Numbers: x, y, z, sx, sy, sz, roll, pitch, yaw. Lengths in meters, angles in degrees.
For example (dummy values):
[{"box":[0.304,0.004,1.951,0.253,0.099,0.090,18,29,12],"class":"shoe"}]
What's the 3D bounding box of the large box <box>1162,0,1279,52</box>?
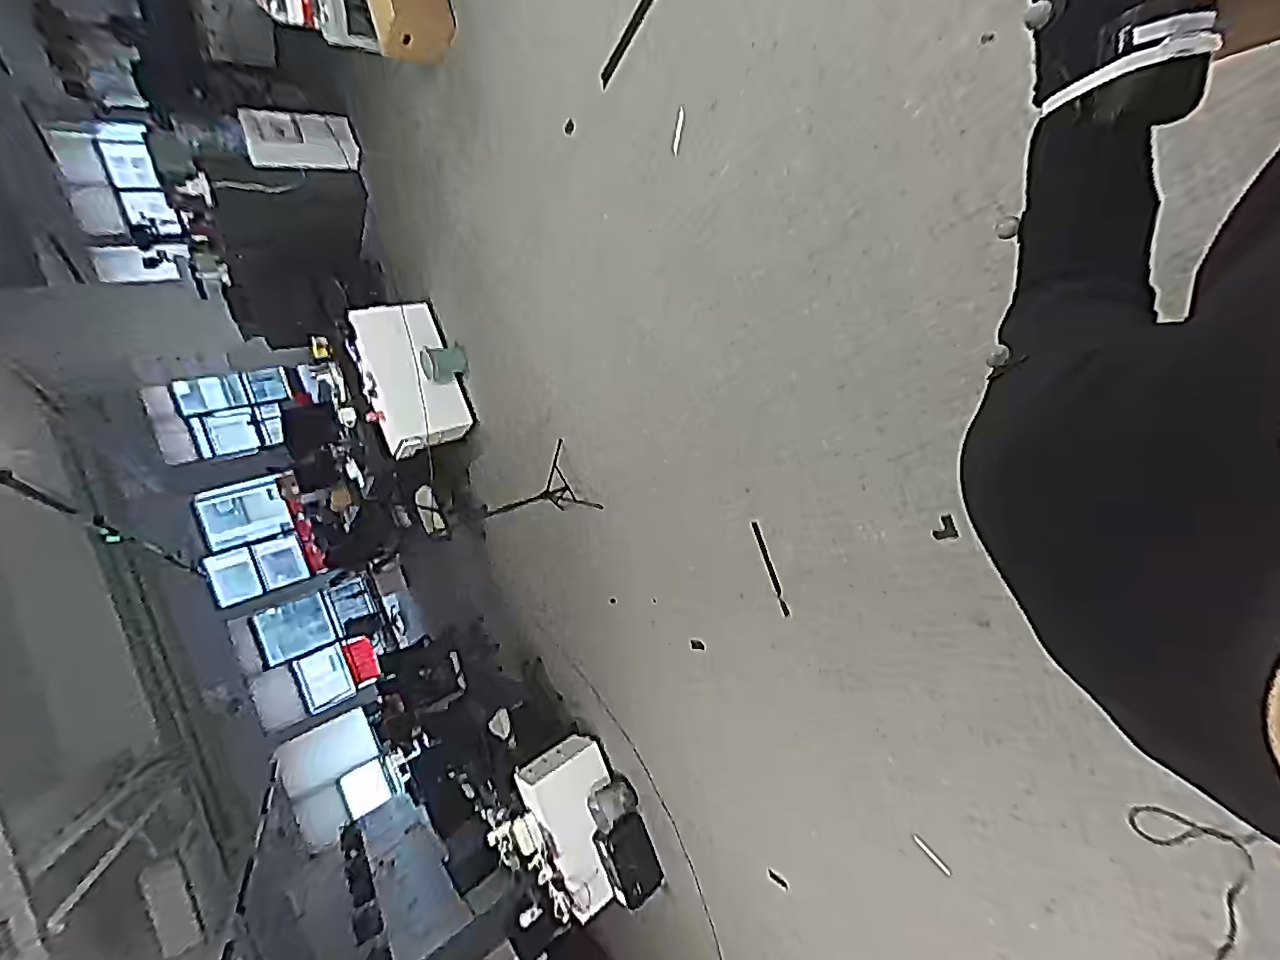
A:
[{"box":[0.544,-0.494,0.256,0.408,0.320,0.320,9,117,48],"class":"large box"}]
